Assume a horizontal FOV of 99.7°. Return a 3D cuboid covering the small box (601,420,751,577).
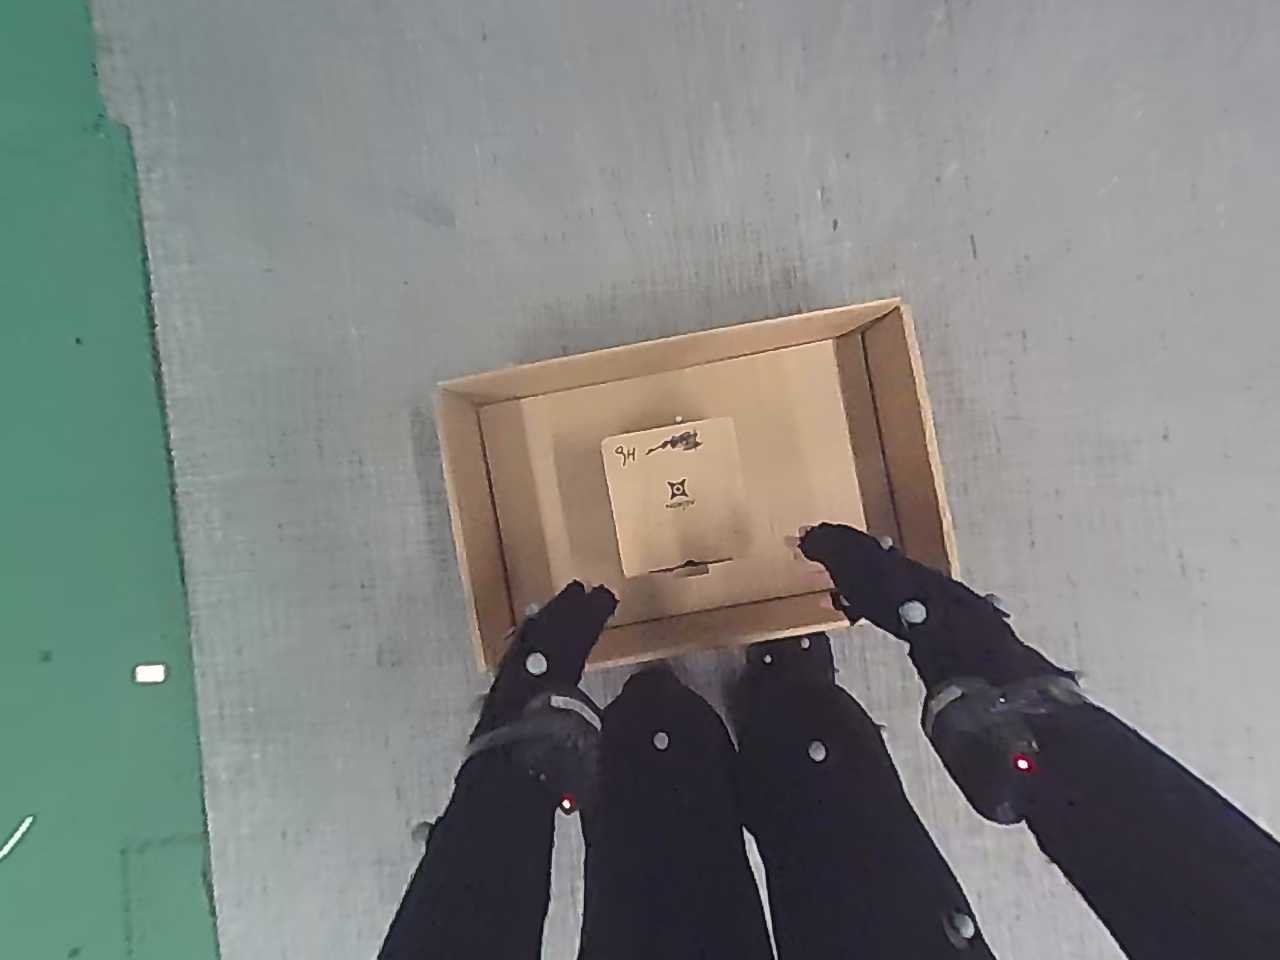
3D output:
[{"bbox_3d":[0.049,0.022,0.744,0.168,0.176,0.179,-10,90,2],"label":"small box"}]
